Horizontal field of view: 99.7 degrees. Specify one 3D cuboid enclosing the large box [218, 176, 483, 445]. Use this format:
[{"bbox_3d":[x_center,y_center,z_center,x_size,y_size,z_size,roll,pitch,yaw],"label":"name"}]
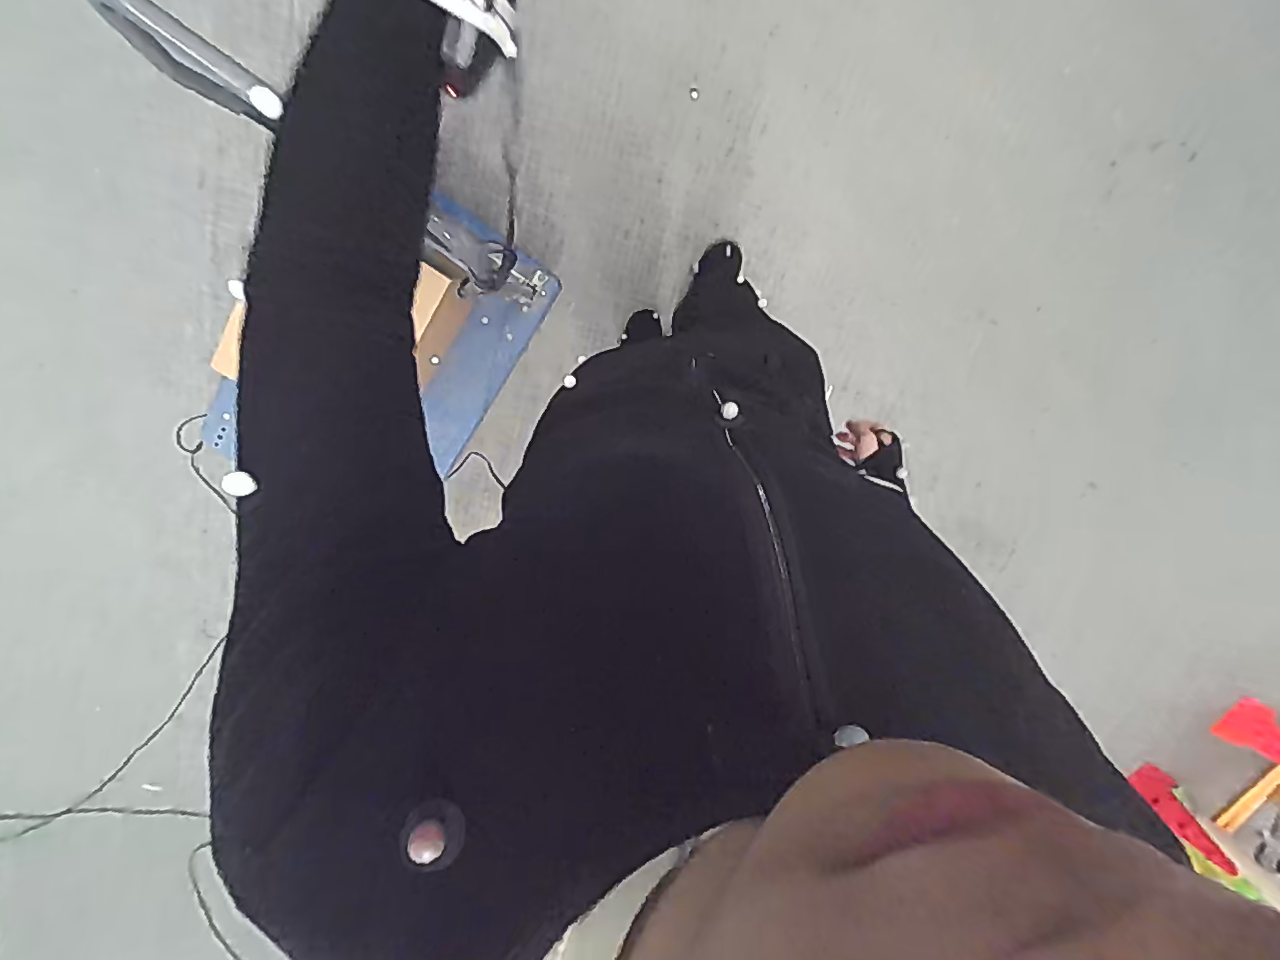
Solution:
[{"bbox_3d":[-0.593,-0.356,1.165,0.320,0.320,0.408,32,107,-13],"label":"large box"}]
